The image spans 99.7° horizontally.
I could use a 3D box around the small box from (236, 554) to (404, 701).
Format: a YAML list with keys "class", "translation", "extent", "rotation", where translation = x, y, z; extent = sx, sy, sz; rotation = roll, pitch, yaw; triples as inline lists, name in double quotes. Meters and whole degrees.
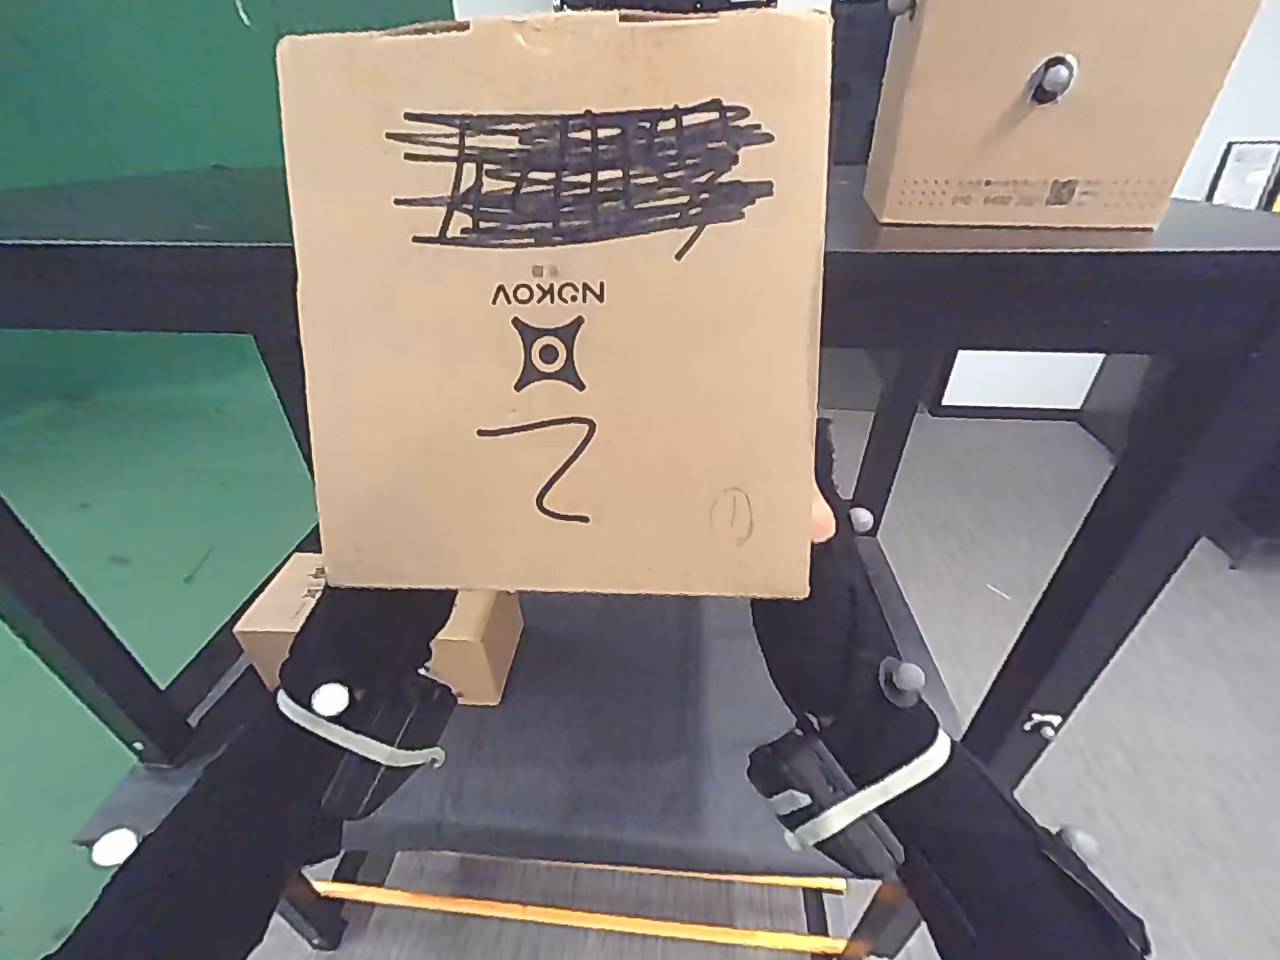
- class: "small box"
  translation: [-0.527, 0.248, 0.925]
  extent: [0.168, 0.176, 0.179]
  rotation: [1, 34, 3]

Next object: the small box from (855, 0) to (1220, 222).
- class: "small box"
  translation: [0.256, -0.284, 0.381]
  extent: [0.168, 0.176, 0.179]
  rotation: [8, 34, 13]
